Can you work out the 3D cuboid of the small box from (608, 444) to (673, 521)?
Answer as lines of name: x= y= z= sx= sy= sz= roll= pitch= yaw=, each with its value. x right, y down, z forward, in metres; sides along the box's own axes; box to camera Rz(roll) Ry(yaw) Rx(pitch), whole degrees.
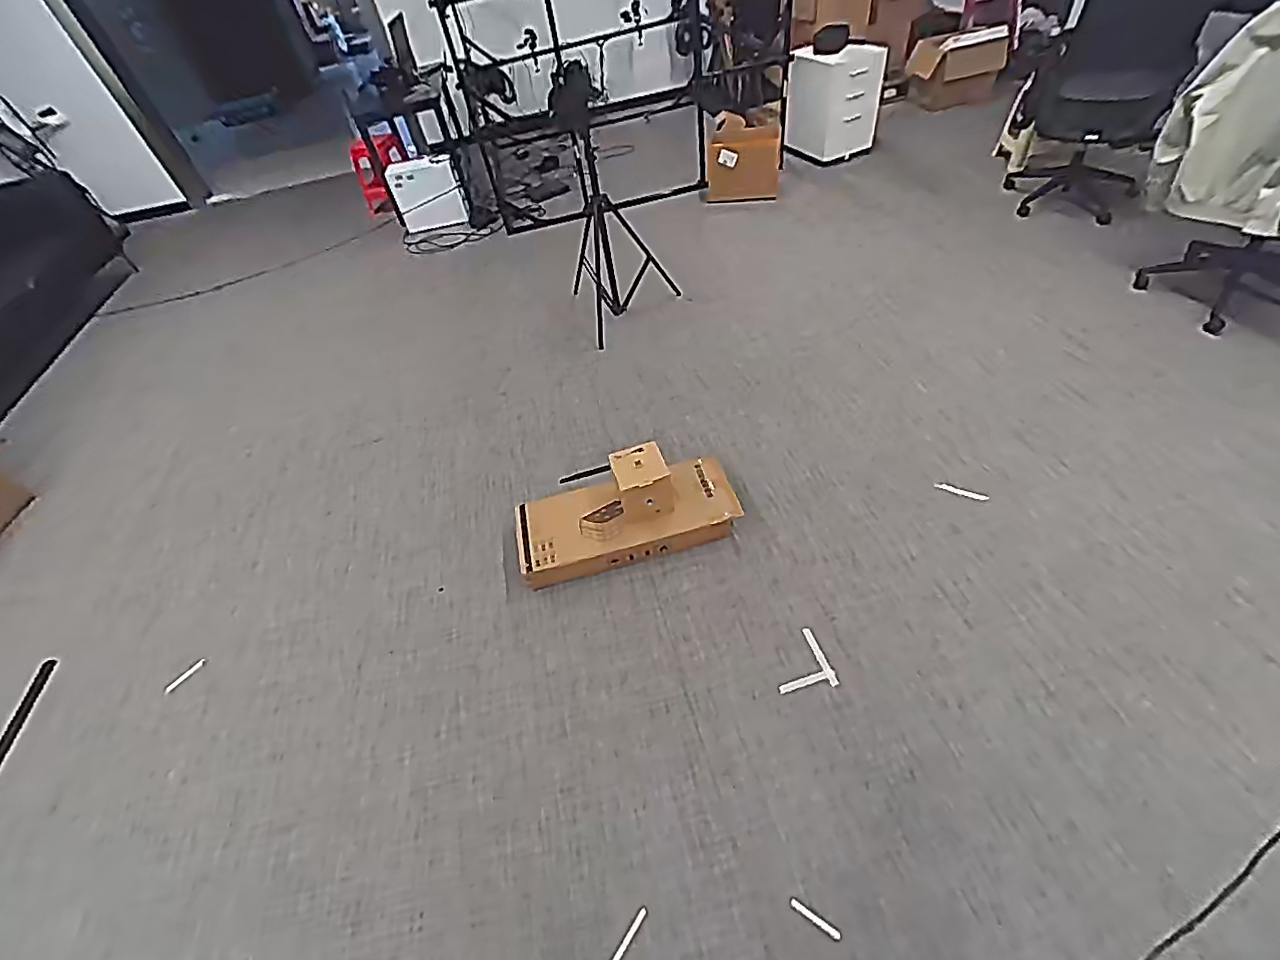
small box: x=0.004 y=0.014 z=1.781 sx=0.168 sy=0.176 sz=0.179 roll=-17 pitch=48 yaw=-5
